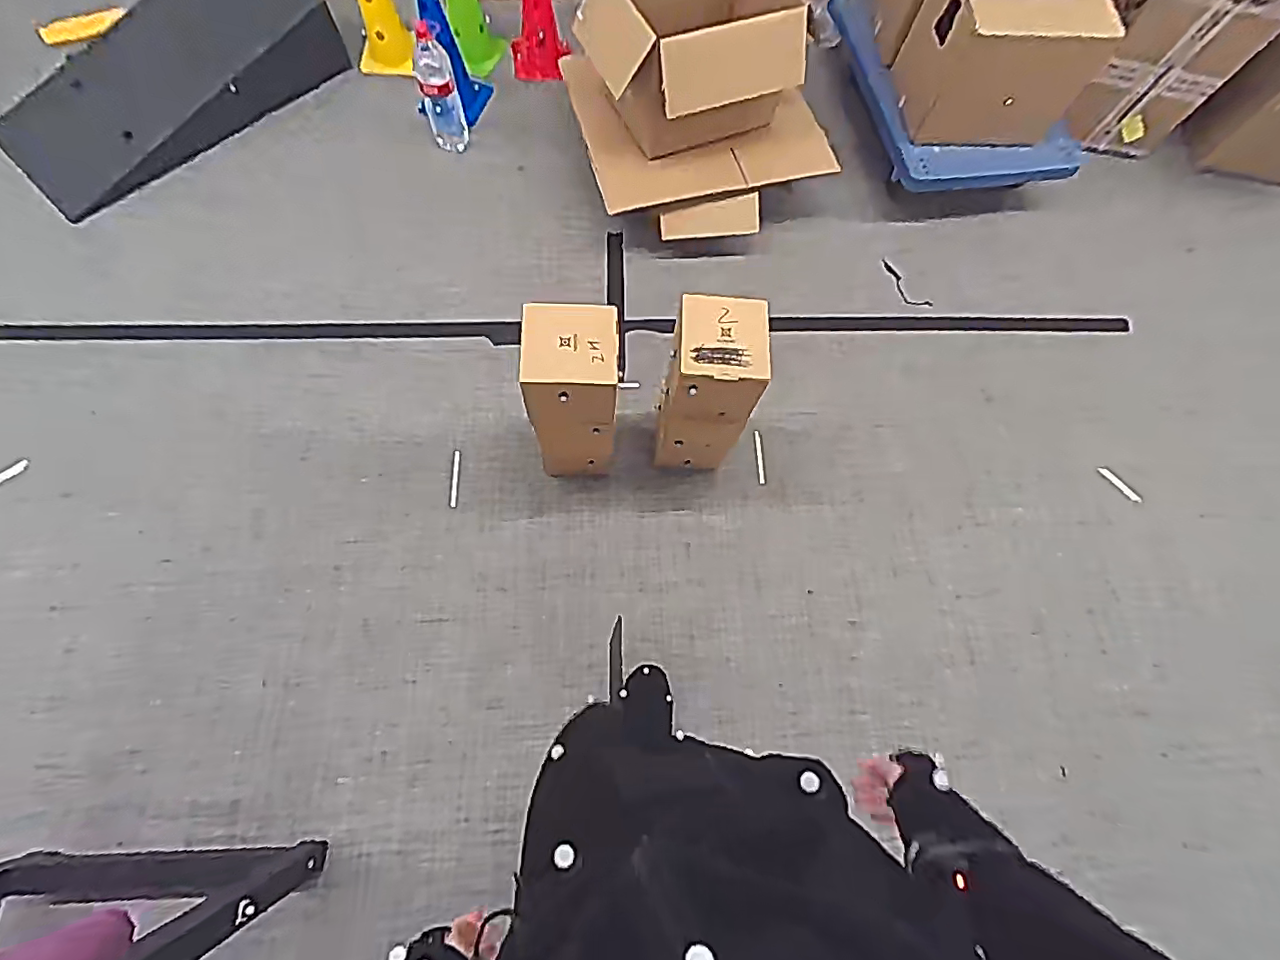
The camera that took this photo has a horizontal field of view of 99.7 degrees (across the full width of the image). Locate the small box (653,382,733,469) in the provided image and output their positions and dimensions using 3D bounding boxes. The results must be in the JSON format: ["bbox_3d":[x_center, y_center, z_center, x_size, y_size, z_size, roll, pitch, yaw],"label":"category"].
[{"bbox_3d":[0.134,-0.133,1.379,0.179,0.176,0.168,4,71,-4],"label":"small box"}]

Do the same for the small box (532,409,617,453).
[{"bbox_3d":[-0.141,-0.164,1.197,0.179,0.176,0.168,0,71,-6],"label":"small box"}]

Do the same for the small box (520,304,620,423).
[{"bbox_3d":[-0.129,-0.217,1.041,0.179,0.176,0.168,1,72,-6],"label":"small box"}]

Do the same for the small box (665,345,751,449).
[{"bbox_3d":[0.149,-0.180,1.221,0.168,0.176,0.179,3,71,-4],"label":"small box"}]

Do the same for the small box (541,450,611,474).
[{"bbox_3d":[-0.156,-0.119,1.352,0.168,0.176,0.179,-1,70,-6],"label":"small box"}]
